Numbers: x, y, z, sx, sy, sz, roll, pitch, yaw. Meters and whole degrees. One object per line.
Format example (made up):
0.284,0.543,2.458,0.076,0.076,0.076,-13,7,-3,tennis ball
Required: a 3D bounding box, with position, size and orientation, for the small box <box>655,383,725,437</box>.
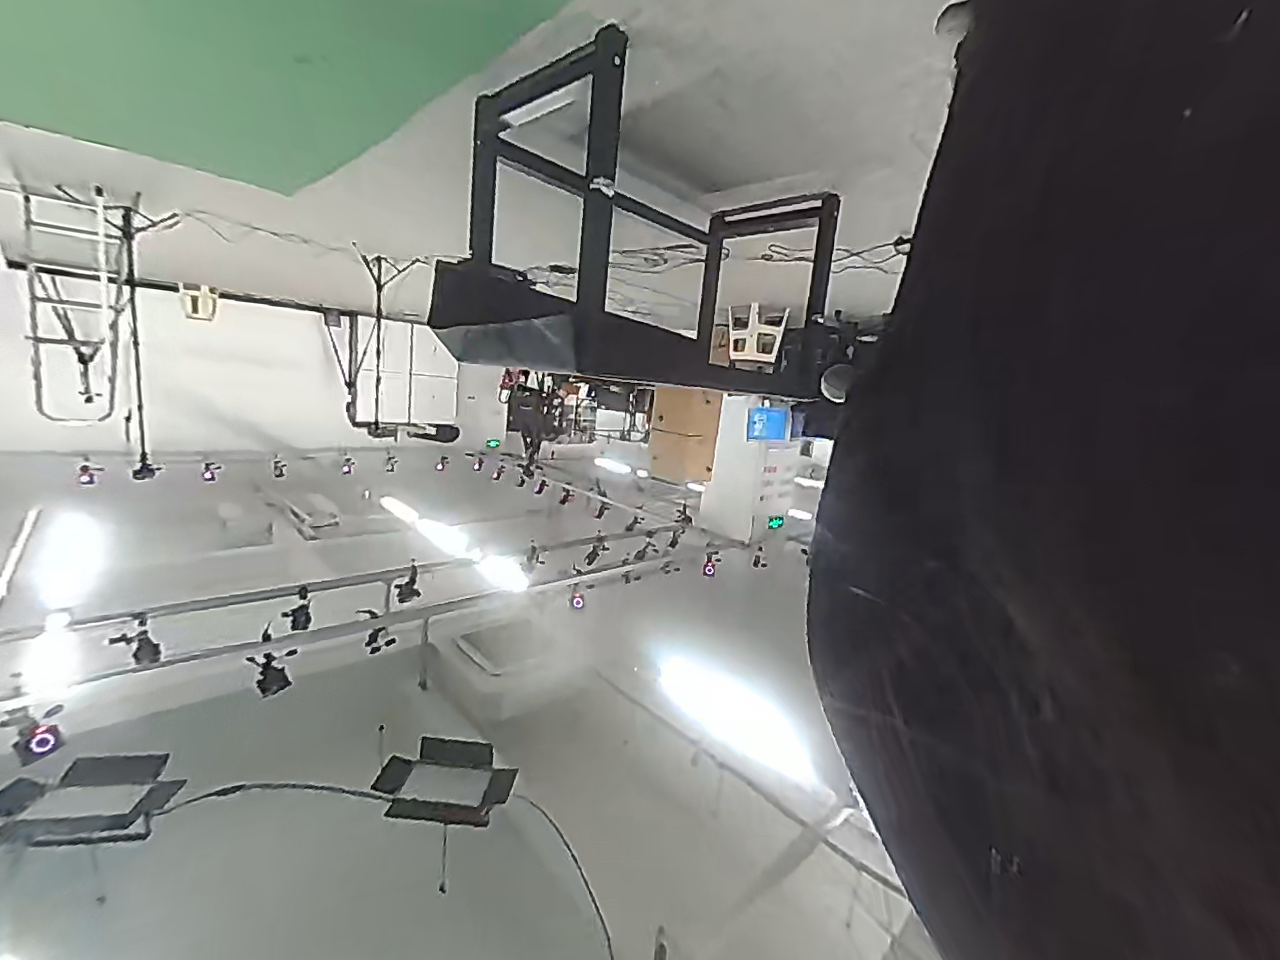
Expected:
0.175,-0.246,1.870,0.168,0.176,0.179,-6,-165,-44,small box
